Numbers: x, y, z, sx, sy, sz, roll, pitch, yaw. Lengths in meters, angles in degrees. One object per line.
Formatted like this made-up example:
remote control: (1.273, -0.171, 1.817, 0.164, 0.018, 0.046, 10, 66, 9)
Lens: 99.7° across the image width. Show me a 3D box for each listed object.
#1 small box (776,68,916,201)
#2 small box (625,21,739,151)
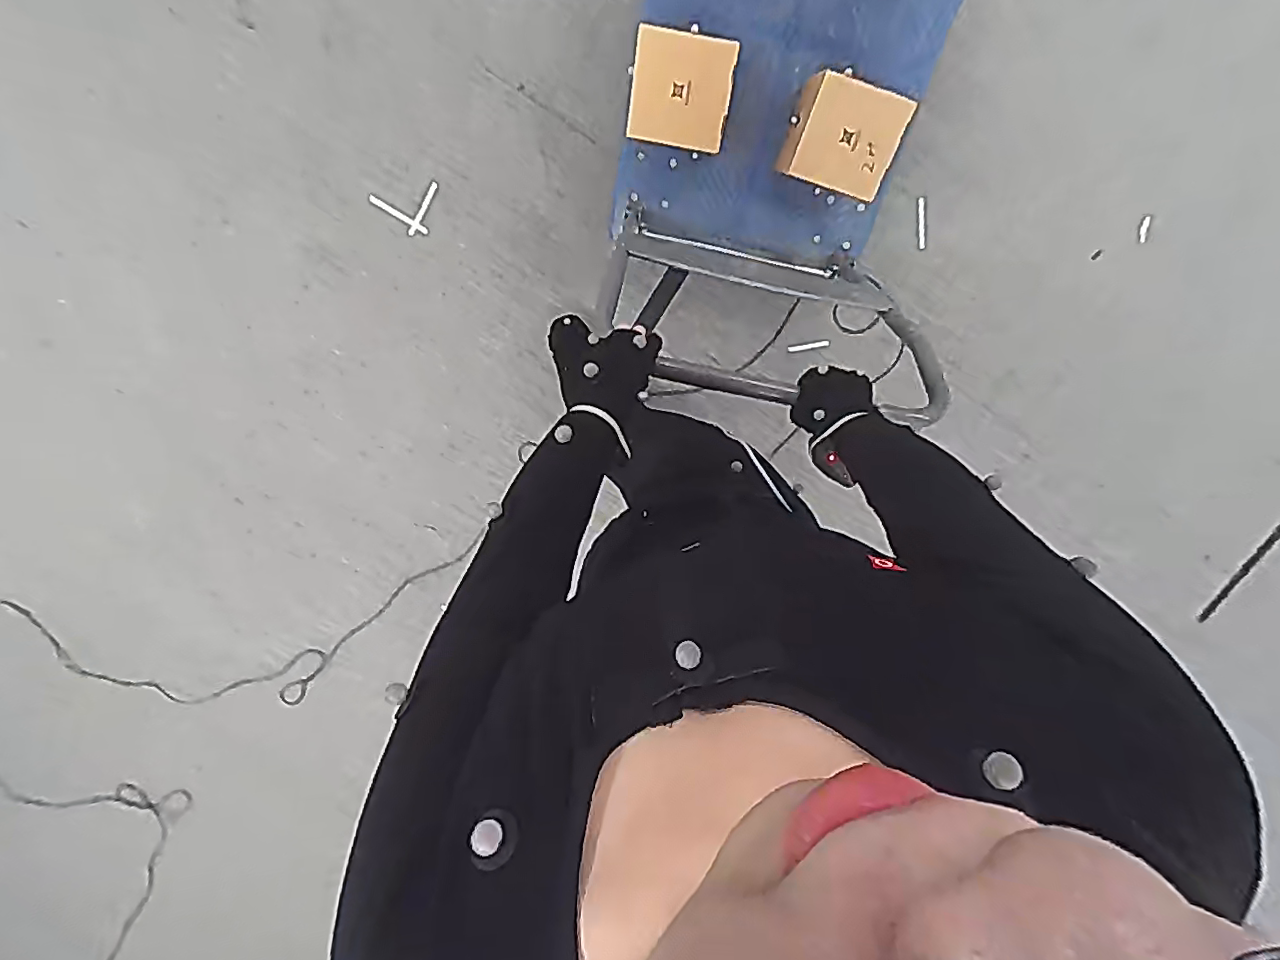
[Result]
small box: (0.381, -0.658, 1.042, 0.179, 0.176, 0.168, 16, 122, -7)
small box: (0.073, -0.728, 1.015, 0.179, 0.176, 0.168, 8, 122, -4)
